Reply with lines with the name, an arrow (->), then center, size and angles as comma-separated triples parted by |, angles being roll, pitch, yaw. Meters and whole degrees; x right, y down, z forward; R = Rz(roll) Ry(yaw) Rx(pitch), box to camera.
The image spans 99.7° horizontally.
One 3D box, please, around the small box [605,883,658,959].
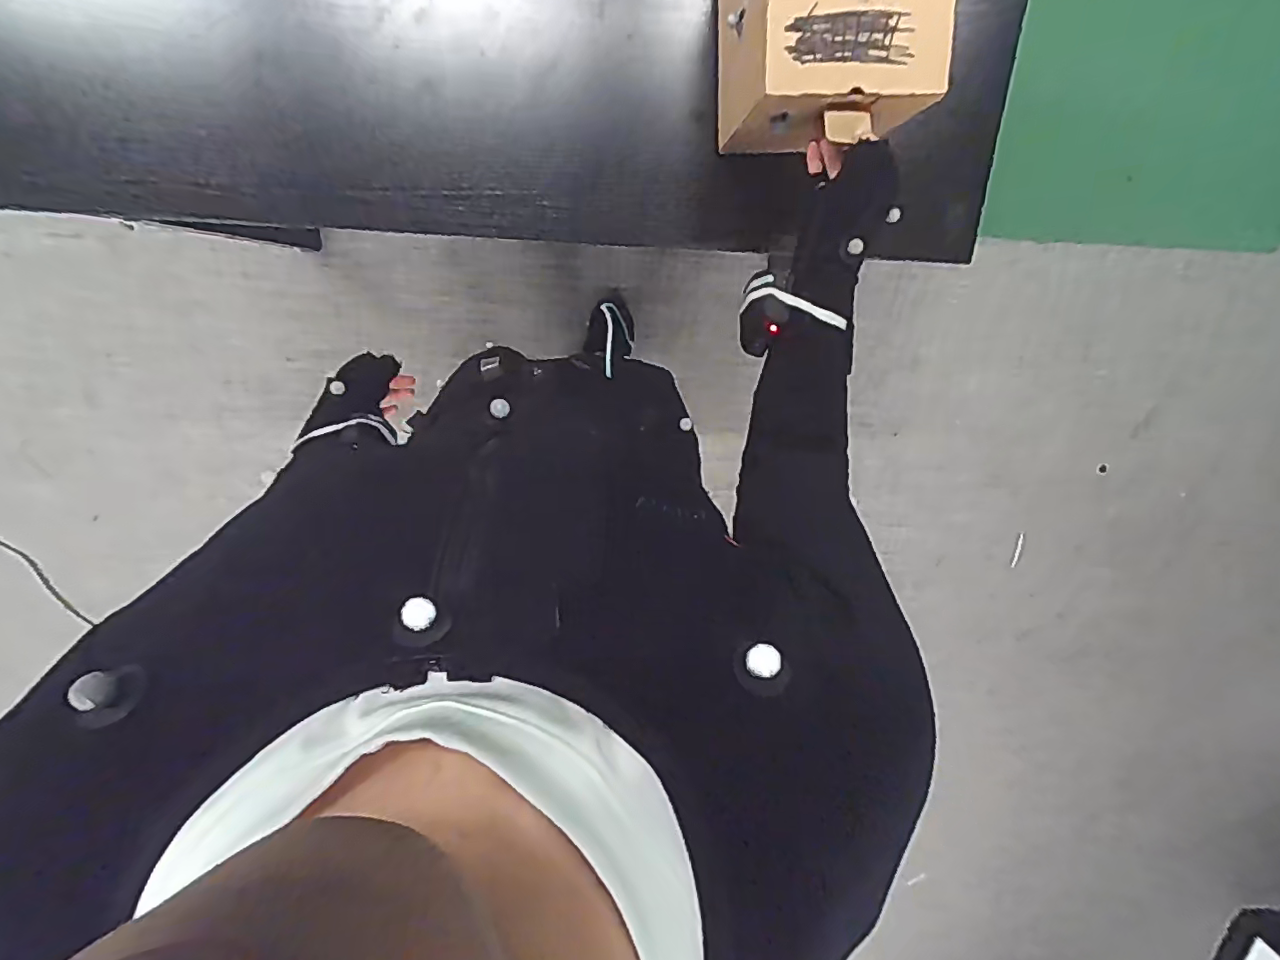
small box -> -0.034, 1.602, 1.948 | 0.168, 0.176, 0.179 | 7, 108, -7
